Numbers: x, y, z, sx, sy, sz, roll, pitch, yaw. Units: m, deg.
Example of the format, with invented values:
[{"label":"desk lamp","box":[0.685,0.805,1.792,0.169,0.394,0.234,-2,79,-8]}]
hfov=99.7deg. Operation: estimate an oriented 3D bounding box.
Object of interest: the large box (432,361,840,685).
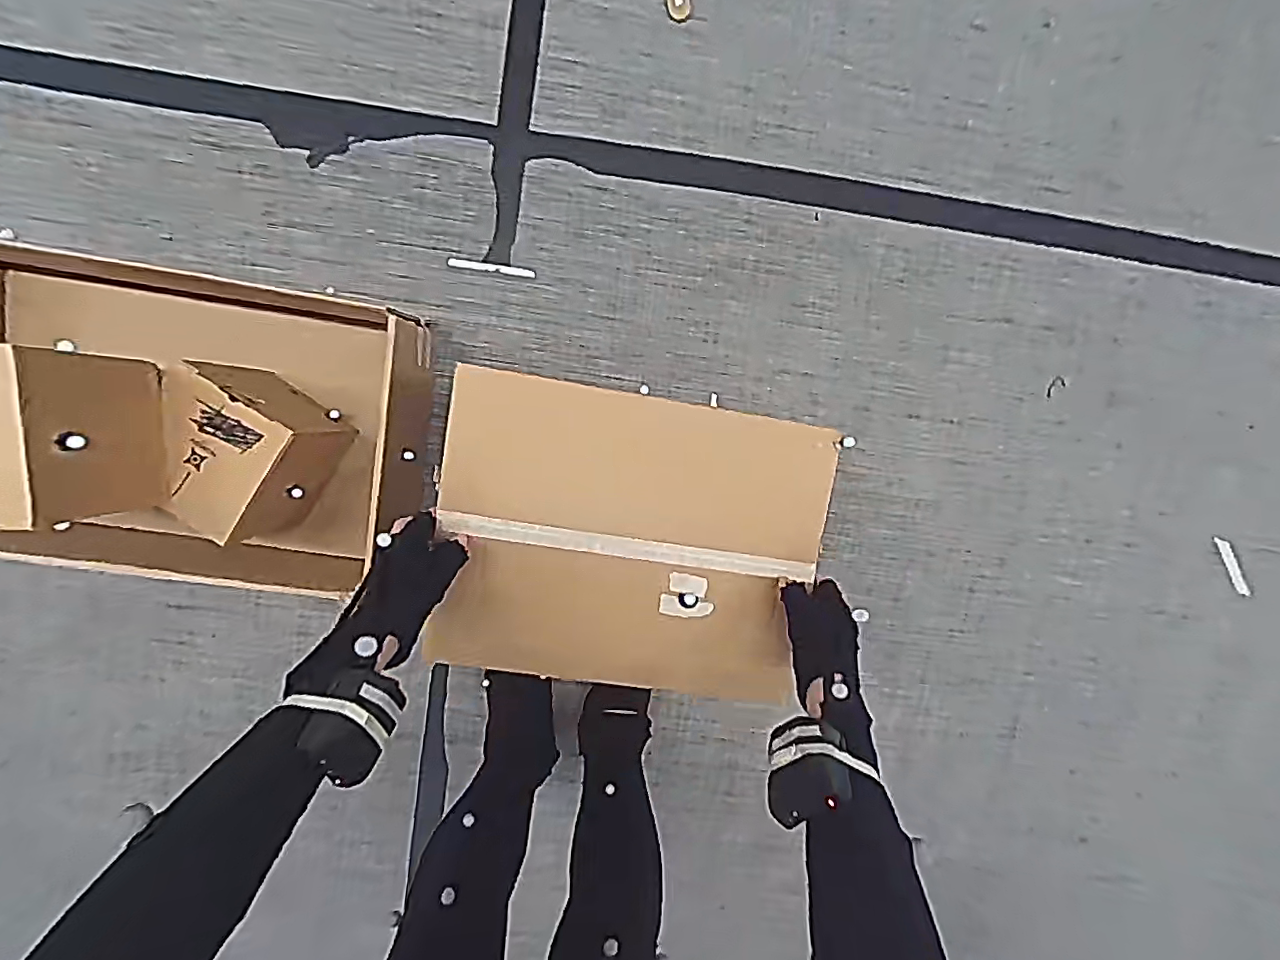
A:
[{"label":"large box","box":[-0.018,0.037,0.714,0.408,0.320,0.320,8,98,-6]}]

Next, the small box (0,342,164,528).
[{"label":"small box","box":[-0.658,-0.051,0.576,0.168,0.176,0.179,0,96,-5]}]
